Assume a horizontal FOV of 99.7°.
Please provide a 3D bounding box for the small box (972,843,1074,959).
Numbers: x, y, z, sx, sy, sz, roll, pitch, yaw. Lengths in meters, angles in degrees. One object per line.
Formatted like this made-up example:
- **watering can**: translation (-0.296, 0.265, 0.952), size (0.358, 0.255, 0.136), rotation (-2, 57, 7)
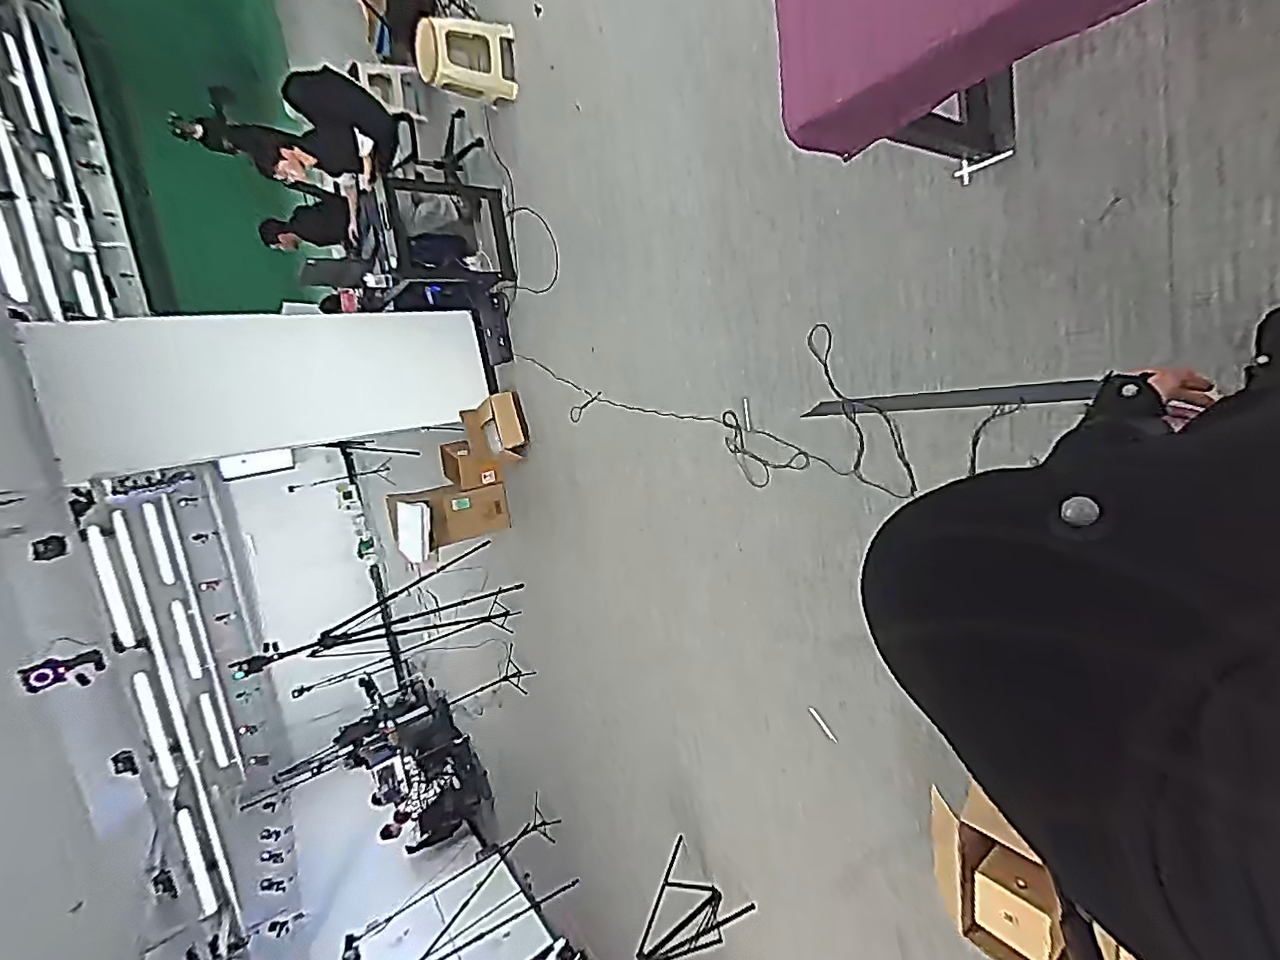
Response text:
- **small box**: translation (1.027, 1.125, 1.454), size (0.179, 0.176, 0.168), rotation (8, 106, 54)
